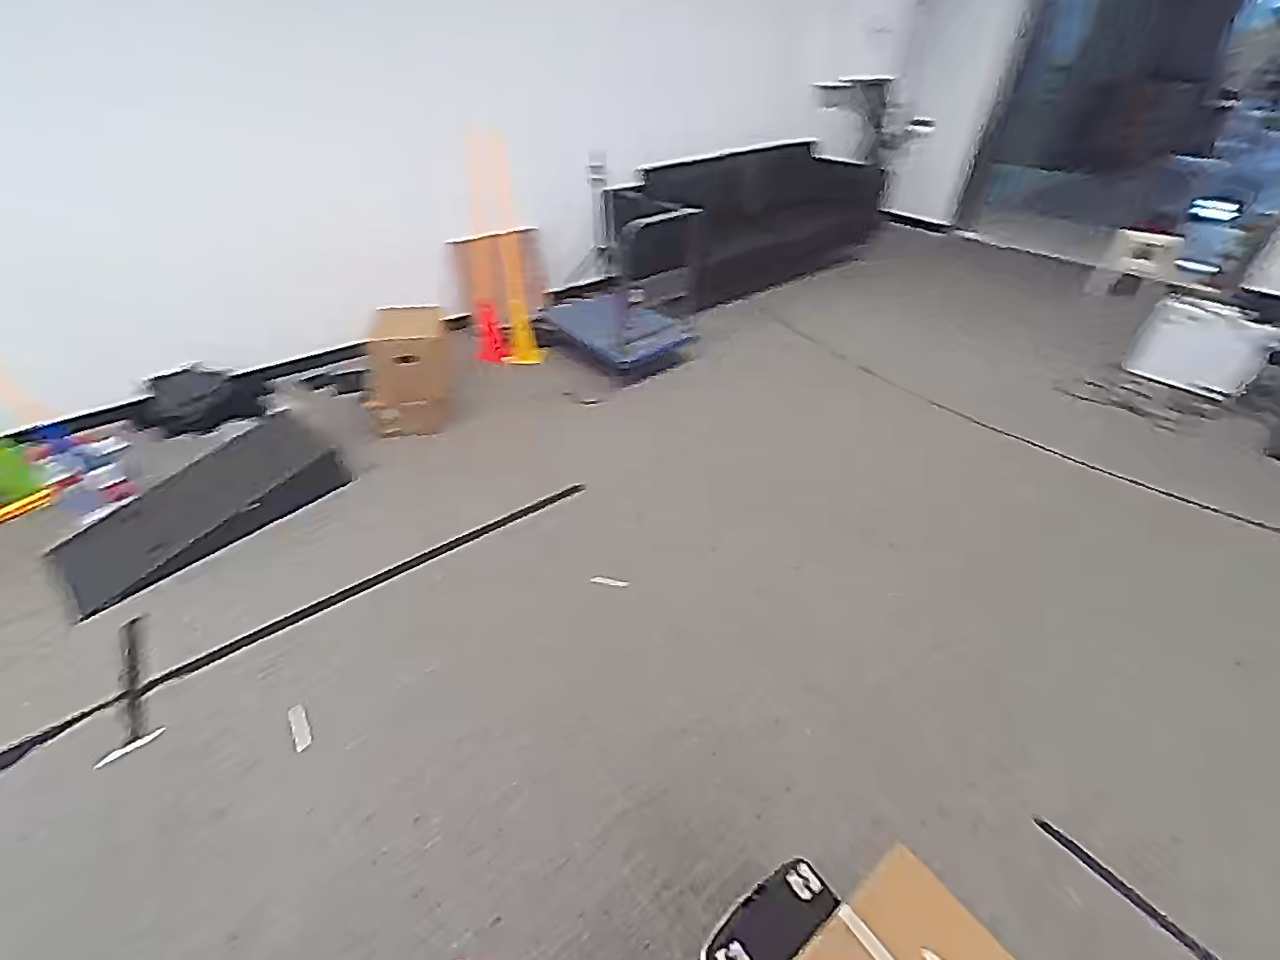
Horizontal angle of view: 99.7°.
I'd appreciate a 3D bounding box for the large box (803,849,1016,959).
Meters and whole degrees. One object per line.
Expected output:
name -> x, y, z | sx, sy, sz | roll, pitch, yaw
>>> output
large box -> 0.434, 0.871, 0.783 | 0.320, 0.320, 0.408 | -24, 43, -27
